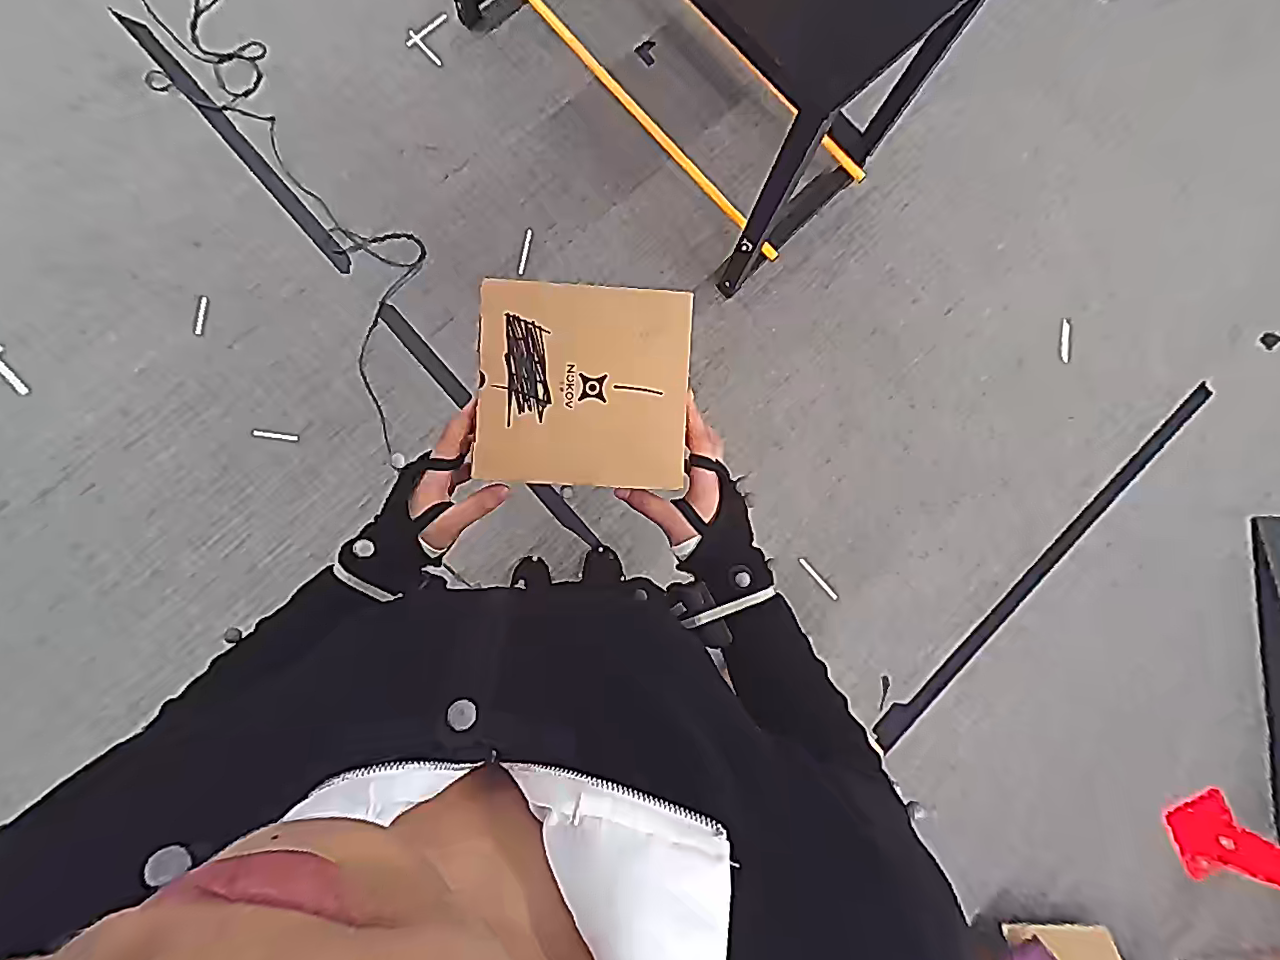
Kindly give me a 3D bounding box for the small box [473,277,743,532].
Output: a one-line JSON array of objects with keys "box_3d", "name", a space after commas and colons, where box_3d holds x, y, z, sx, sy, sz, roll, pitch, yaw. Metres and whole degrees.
[{"box_3d": [-0.024, -0.051, 0.441, 0.179, 0.176, 0.168, 2, 91, -3], "name": "small box"}]
